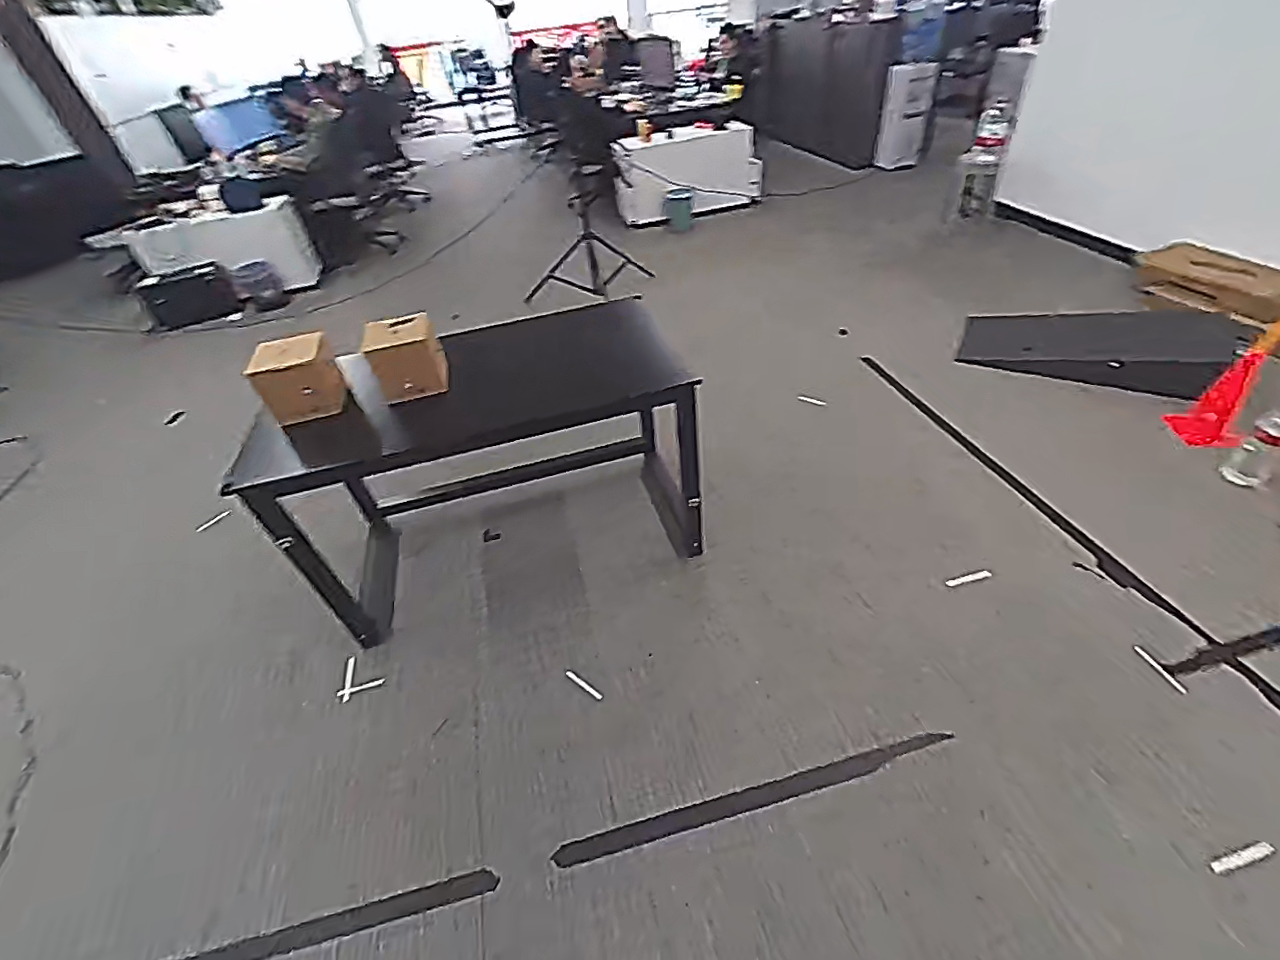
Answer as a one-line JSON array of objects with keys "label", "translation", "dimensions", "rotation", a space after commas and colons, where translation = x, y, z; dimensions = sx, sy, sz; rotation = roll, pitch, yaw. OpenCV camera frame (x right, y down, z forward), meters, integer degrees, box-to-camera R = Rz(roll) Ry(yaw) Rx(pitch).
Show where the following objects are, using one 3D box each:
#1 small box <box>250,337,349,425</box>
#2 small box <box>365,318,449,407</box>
[{"label": "small box", "translation": [-0.927, -0.268, 1.492], "dimensions": [0.168, 0.176, 0.179], "rotation": [-14, 41, -10]}, {"label": "small box", "translation": [-0.648, -0.332, 1.522], "dimensions": [0.168, 0.176, 0.179], "rotation": [-15, 43, -8]}]
